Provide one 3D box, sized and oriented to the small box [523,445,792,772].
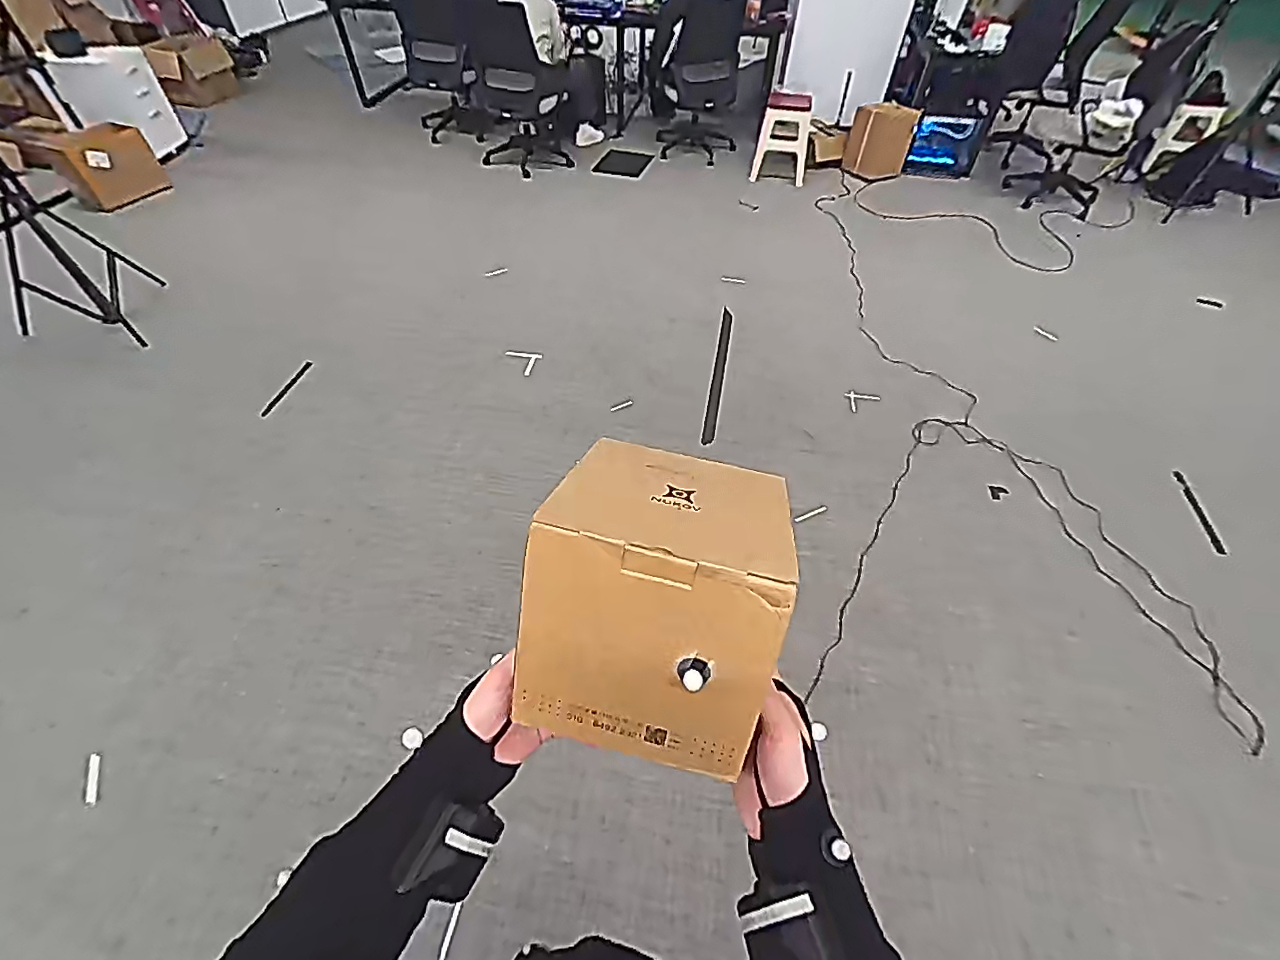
[{"bbox_3d":[0.014,0.091,0.433,0.168,0.176,0.179,14,23,6],"label":"small box"}]
